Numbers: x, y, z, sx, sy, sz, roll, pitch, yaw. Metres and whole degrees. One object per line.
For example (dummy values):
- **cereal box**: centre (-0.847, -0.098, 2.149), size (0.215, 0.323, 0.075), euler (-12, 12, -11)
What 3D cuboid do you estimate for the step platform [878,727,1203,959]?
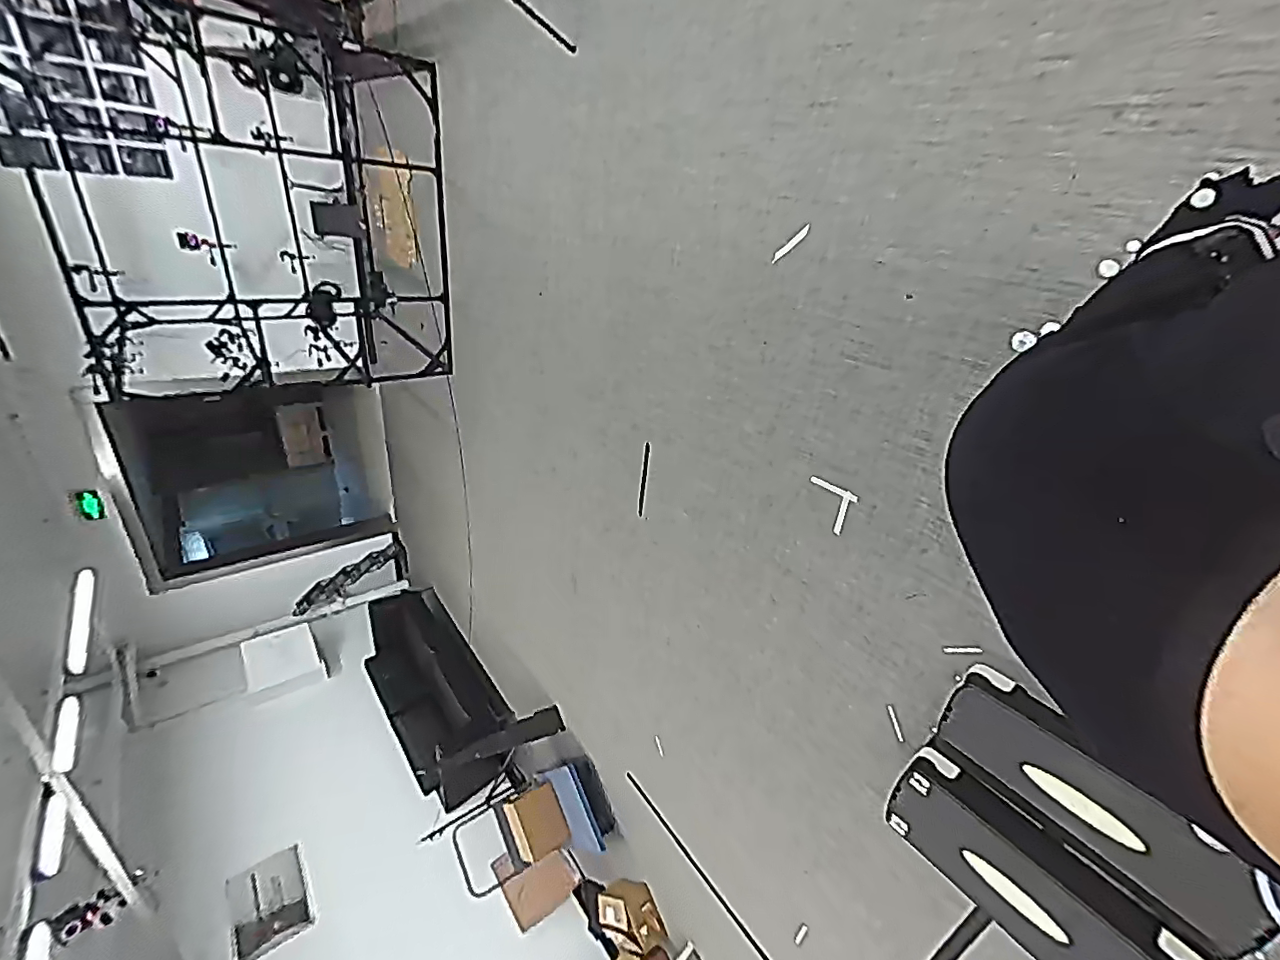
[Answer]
- **step platform**: centre (1.007, 1.023, 1.454), size (0.684, 0.204, 0.286), euler (35, 129, 43)
